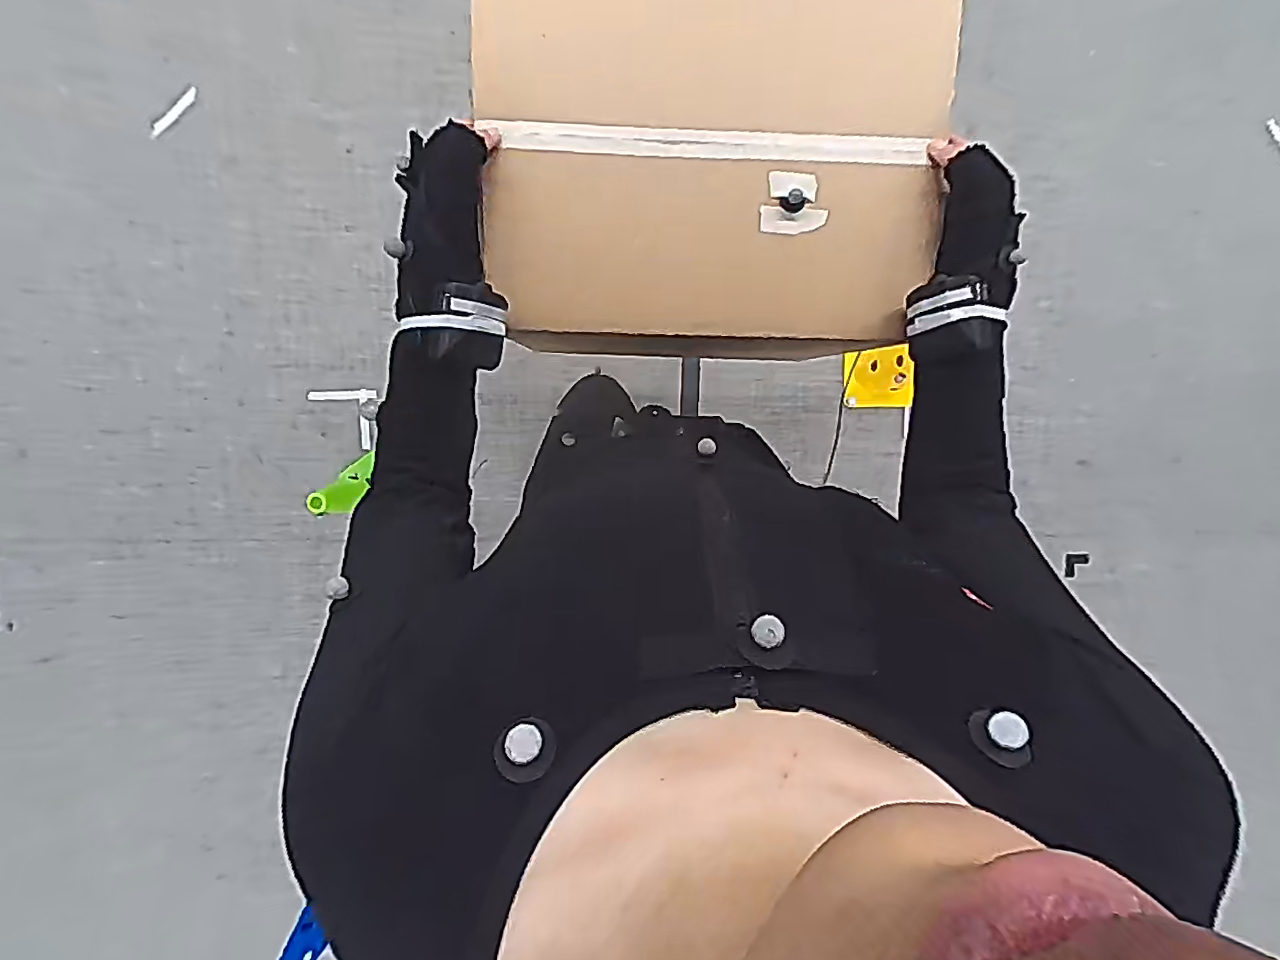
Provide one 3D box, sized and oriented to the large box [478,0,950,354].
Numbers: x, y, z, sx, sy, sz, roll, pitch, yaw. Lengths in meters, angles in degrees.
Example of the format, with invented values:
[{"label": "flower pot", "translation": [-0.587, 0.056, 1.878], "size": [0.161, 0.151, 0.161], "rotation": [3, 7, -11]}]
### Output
[{"label": "large box", "translation": [0.055, -0.313, 0.612], "size": [0.408, 0.320, 0.320], "rotation": [0, 99, -4]}]
